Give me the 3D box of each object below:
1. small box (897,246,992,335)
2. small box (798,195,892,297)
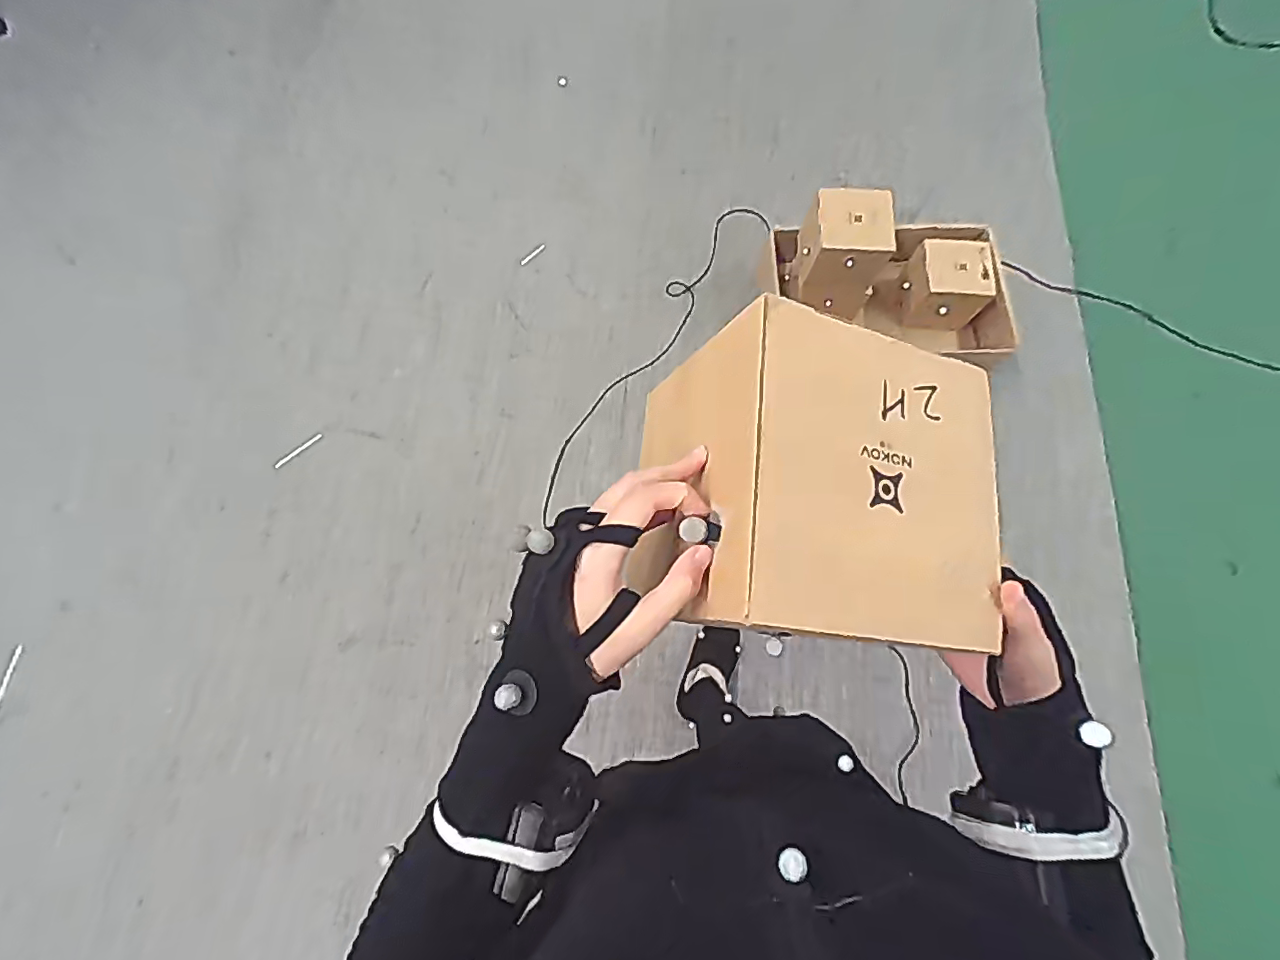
[{"bbox_3d":[0.829,-0.519,1.496,0.179,0.176,0.168,4,74,1],"label":"small box"},{"bbox_3d":[0.497,-0.572,1.338,0.179,0.176,0.168,3,75,-1],"label":"small box"}]
